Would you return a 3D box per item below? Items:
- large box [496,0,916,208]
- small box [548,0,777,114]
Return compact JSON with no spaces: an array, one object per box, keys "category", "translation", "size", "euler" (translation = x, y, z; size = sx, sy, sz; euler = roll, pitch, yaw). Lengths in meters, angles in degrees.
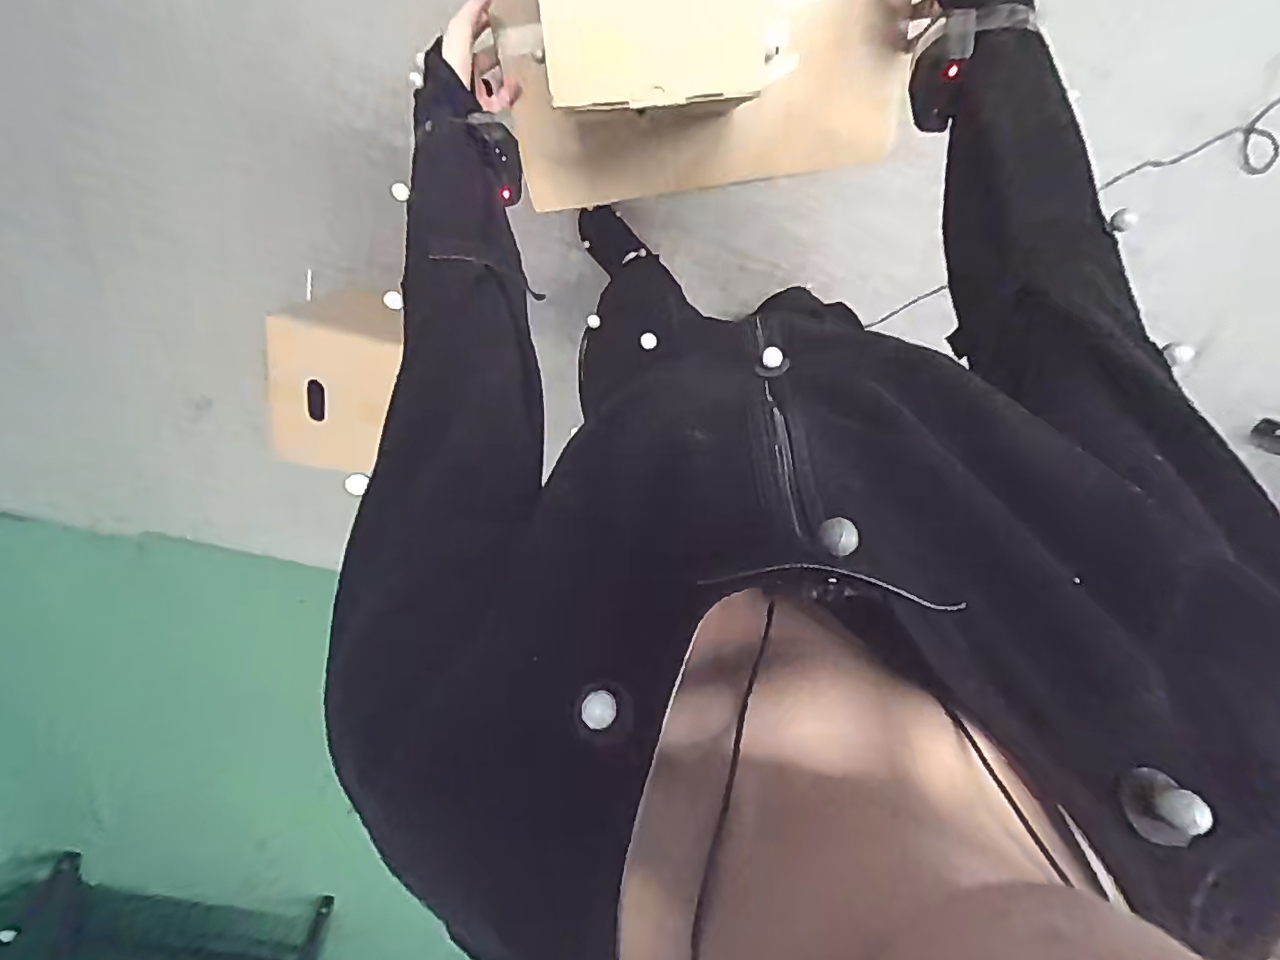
[{"category":"large box","translation":[0.062,-0.537,0.638],"size":[0.408,0.320,0.320],"euler":[-6,123,4]},{"category":"small box","translation":[0.014,-0.407,0.433],"size":[0.168,0.176,0.179],"euler":[-2,123,3]}]
